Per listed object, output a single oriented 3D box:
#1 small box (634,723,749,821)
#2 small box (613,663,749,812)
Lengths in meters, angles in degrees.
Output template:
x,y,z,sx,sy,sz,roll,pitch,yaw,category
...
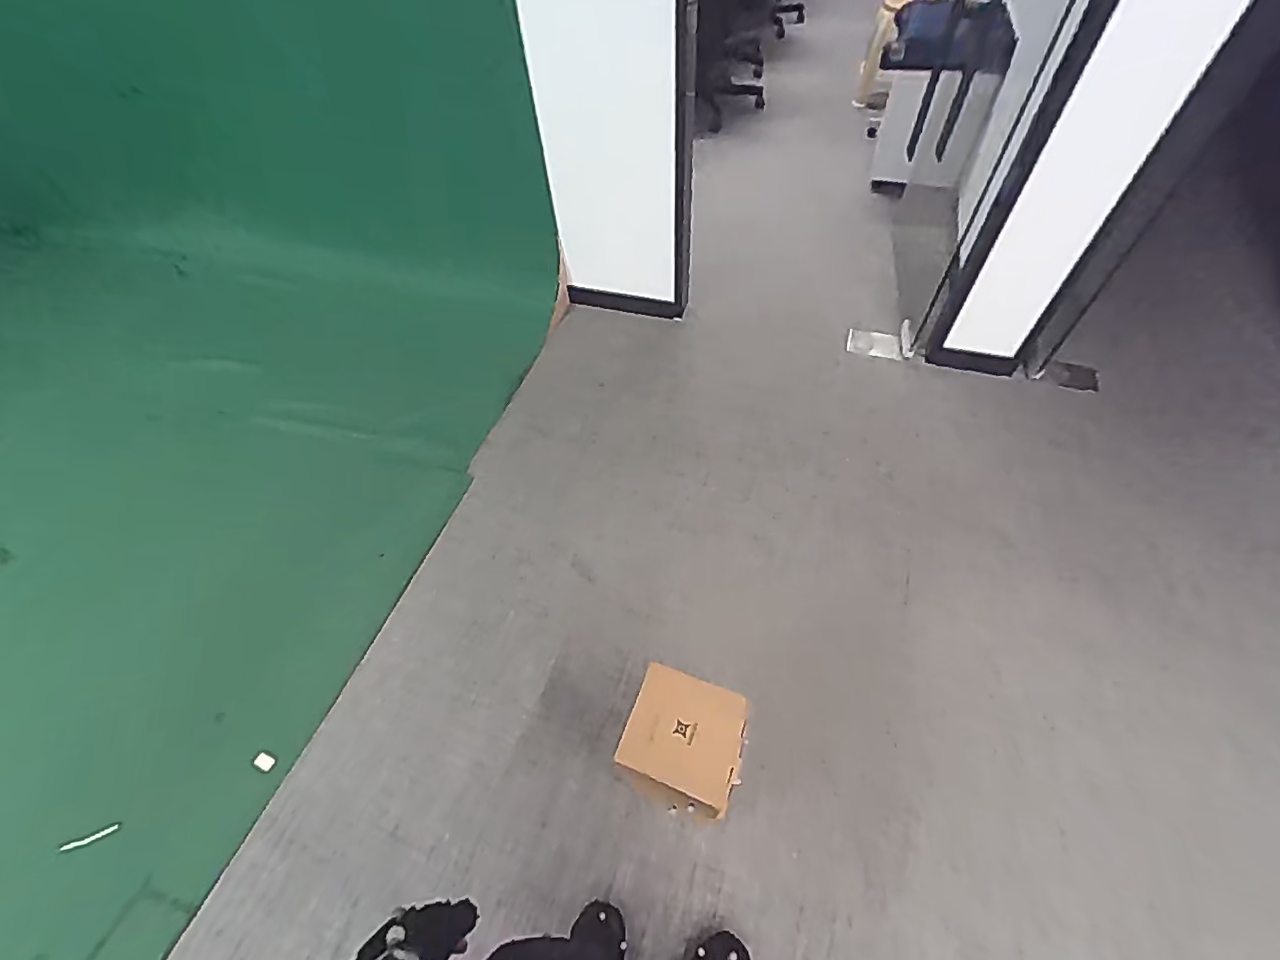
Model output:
x,y,z,sx,sy,sz,roll,pitch,yaw,category
0.096,0.534,1.044,0.179,0.176,0.168,17,58,15,small box
0.073,0.438,0.914,0.179,0.176,0.168,15,56,16,small box
